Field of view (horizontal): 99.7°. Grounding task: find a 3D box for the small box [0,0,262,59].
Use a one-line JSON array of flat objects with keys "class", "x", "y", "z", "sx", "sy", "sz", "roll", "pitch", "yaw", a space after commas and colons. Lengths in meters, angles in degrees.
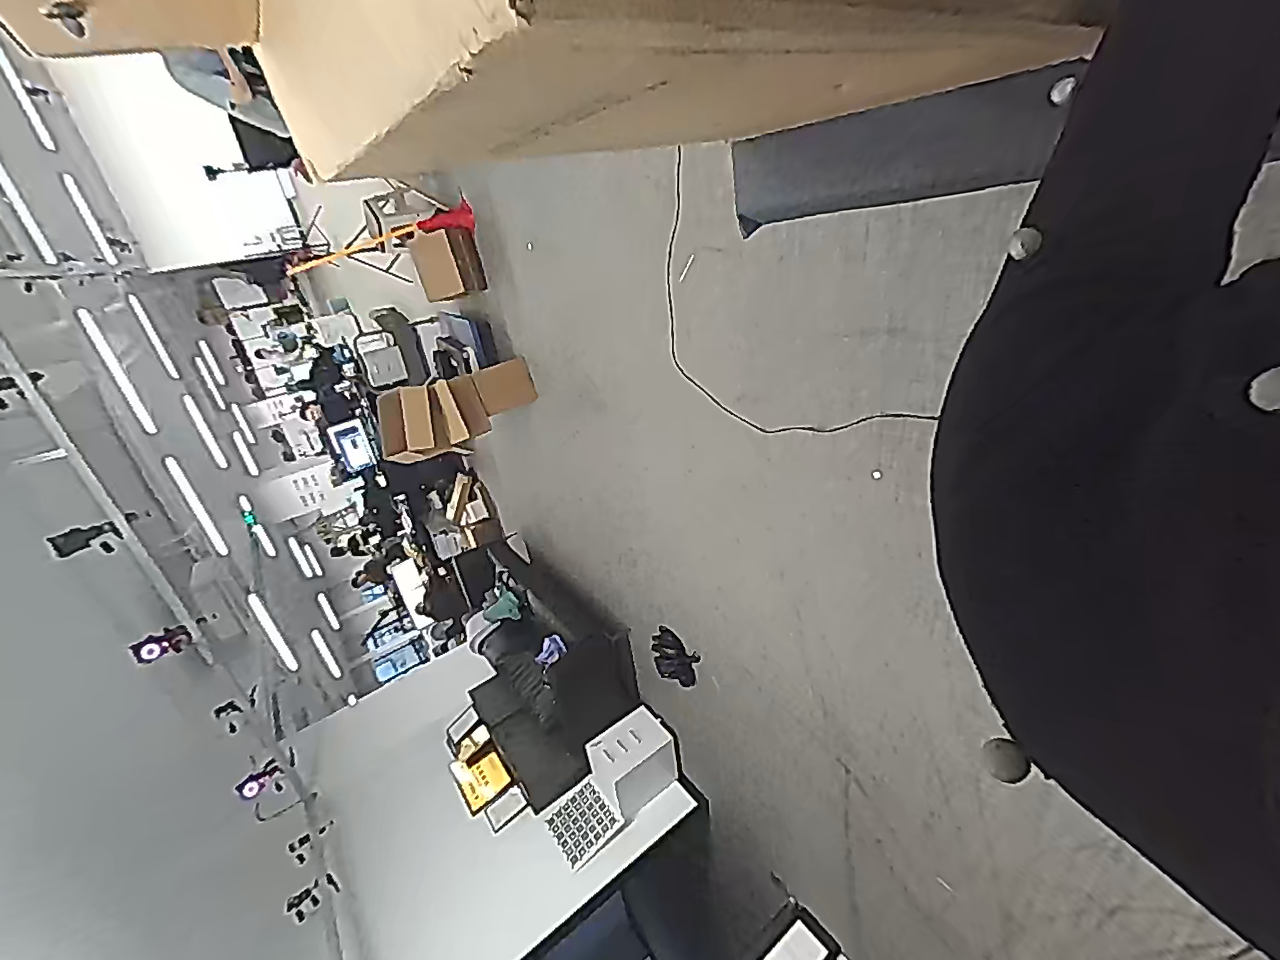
[{"class": "small box", "x": -0.373, "y": -0.409, "z": 0.352, "sx": 0.179, "sy": 0.176, "sz": 0.168, "roll": 19, "pitch": 133, "yaw": 52}]
